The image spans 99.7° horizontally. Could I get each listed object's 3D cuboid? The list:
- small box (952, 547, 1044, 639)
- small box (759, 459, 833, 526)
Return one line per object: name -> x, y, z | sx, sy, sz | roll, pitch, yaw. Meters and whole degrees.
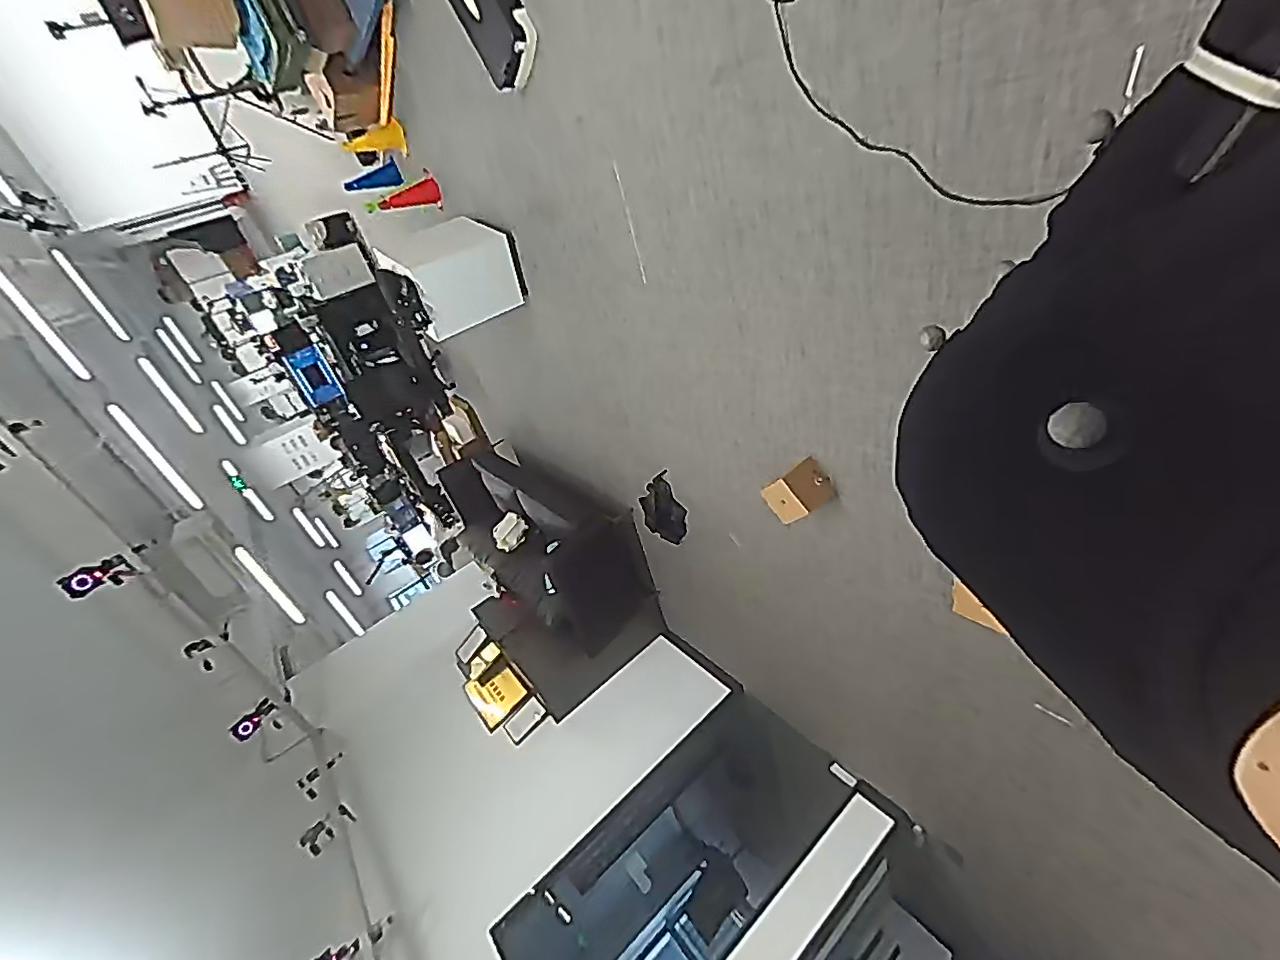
small box -> 1.047, 0.323, 1.584 | 0.179, 0.176, 0.168 | 25, 141, 50
small box -> 0.598, 0.046, 2.069 | 0.168, 0.176, 0.179 | 52, 155, 6
